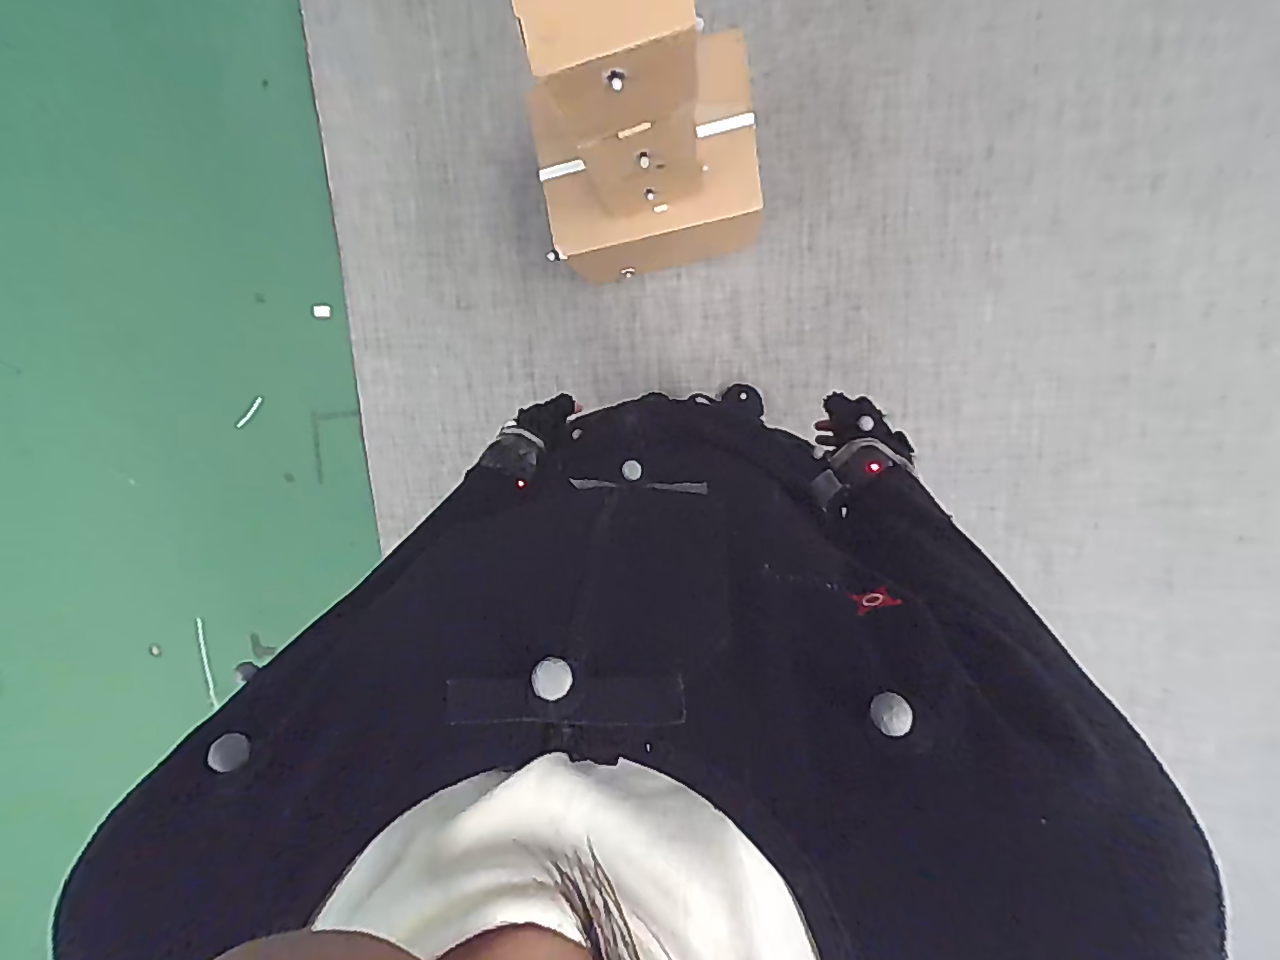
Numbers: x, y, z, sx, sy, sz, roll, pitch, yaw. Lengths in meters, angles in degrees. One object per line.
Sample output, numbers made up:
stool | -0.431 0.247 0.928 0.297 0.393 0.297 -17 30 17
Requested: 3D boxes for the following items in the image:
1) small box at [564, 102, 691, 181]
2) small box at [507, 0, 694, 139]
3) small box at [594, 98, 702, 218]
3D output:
small box | -0.025 -0.549 0.763 0.168 0.176 0.179 -12 99 10
small box | -0.041 -0.518 0.604 0.179 0.176 0.168 -12 100 9
small box | 0.001 -0.575 0.922 0.179 0.176 0.168 -15 99 9
